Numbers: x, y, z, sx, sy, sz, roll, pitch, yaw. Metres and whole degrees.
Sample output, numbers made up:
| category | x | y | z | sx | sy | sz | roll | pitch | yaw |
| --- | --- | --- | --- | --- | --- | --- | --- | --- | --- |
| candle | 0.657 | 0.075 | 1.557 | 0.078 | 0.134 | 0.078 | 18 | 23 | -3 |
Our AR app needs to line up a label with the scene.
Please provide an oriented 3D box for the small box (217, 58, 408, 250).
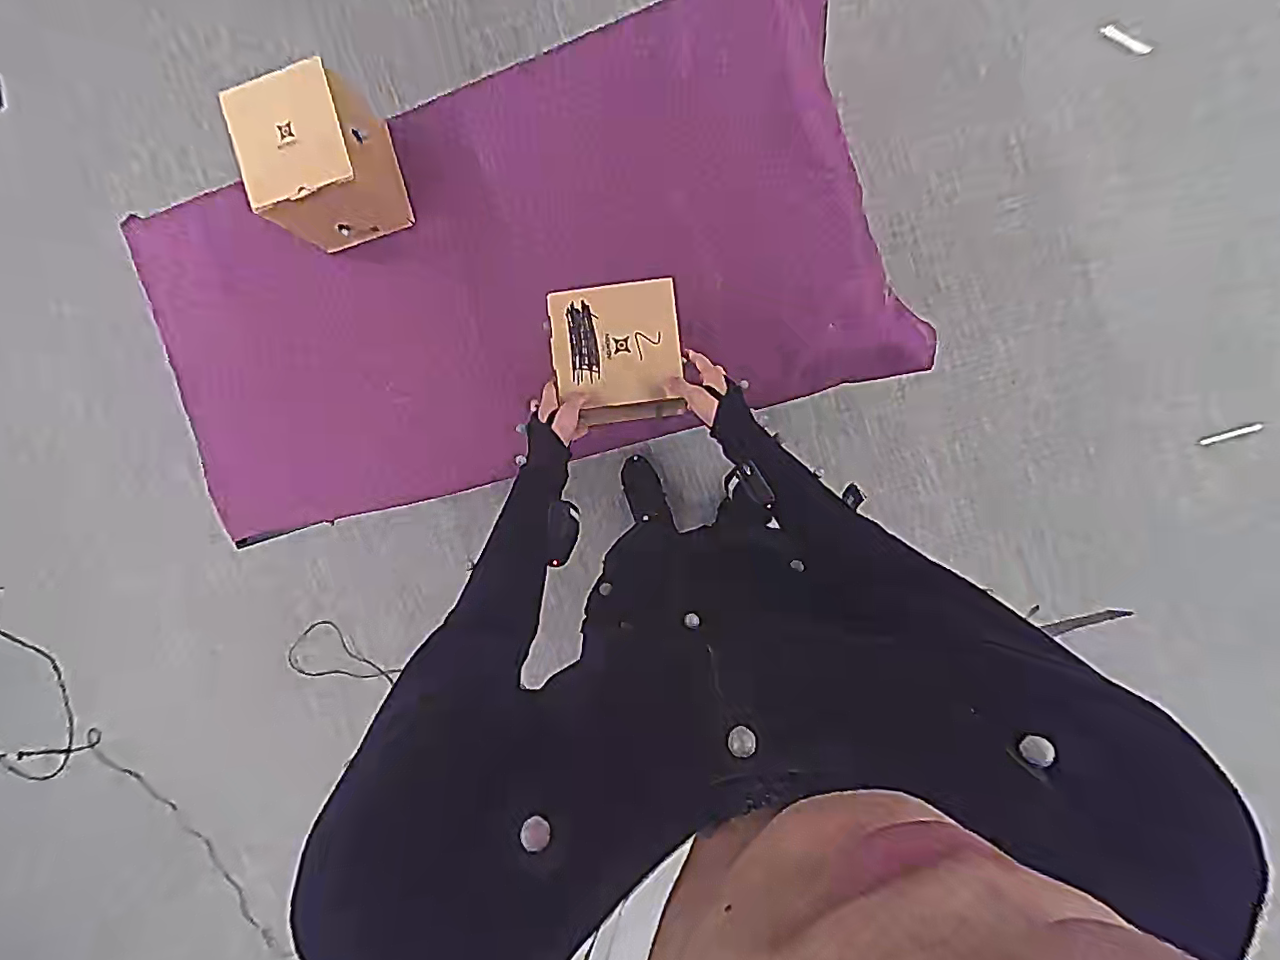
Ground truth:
| category | x | y | z | sx | sy | sz | roll | pitch | yaw |
| --- | --- | --- | --- | --- | --- | --- | --- | --- | --- |
| small box | -0.497 | -0.493 | 0.845 | 0.168 | 0.176 | 0.179 | -15 | 93 | 6 |
